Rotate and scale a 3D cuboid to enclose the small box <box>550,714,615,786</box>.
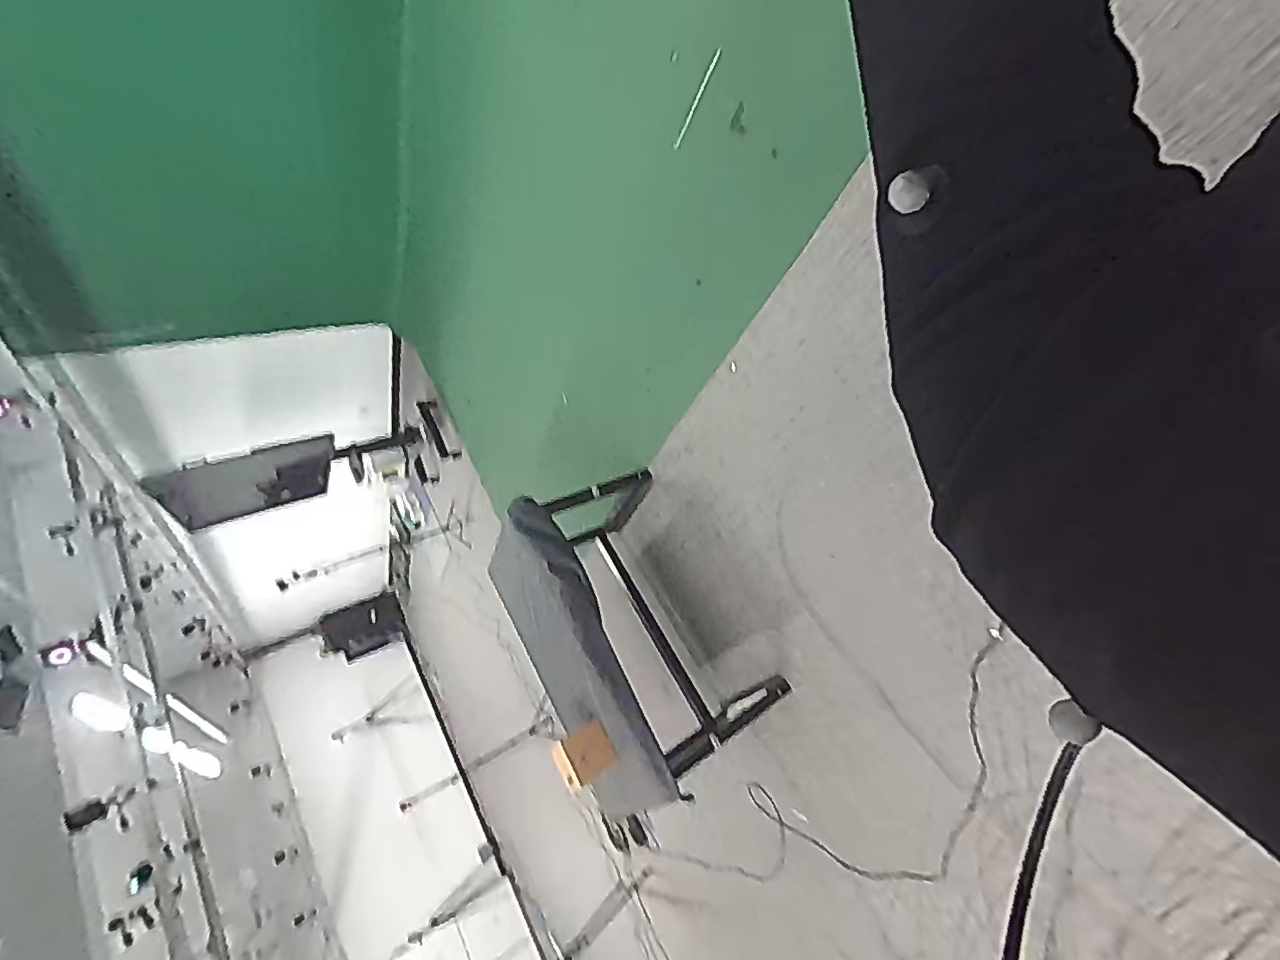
[{"bbox_3d":[-0.217,1.023,2.052,0.179,0.176,0.168,57,144,21],"label":"small box"}]
